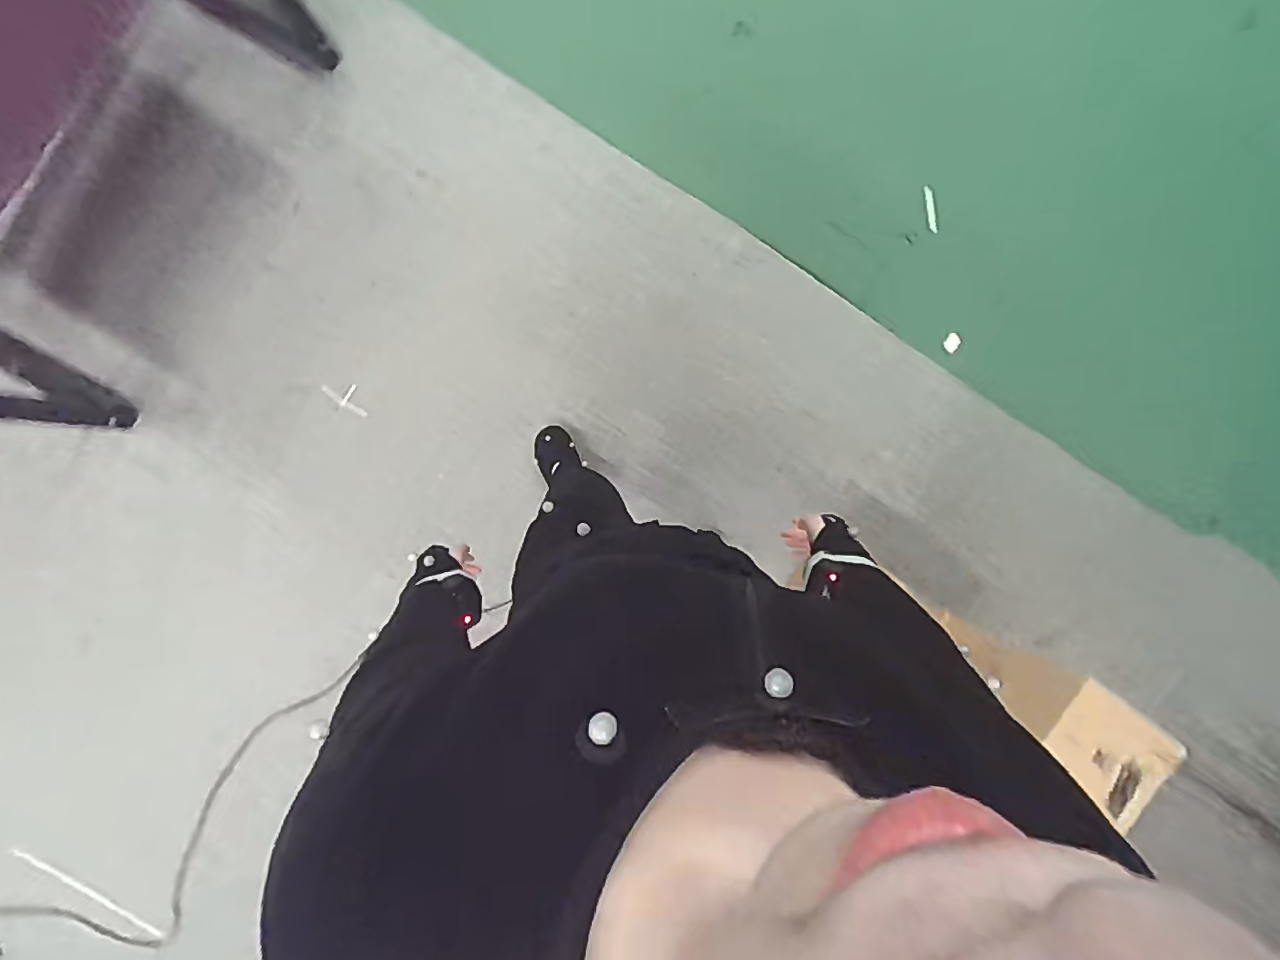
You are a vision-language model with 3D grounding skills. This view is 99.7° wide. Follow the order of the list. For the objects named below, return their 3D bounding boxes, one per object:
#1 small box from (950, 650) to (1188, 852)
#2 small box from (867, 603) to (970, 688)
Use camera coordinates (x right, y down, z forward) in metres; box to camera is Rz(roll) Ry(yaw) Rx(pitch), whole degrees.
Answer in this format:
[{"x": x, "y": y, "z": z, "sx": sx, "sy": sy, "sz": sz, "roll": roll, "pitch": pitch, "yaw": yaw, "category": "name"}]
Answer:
[{"x": 0.616, "y": 0.383, "z": 0.800, "sx": 0.179, "sy": 0.176, "sz": 0.168, "roll": 37, "pitch": 90, "yaw": -2, "category": "small box"}, {"x": 0.615, "y": 0.377, "z": 1.127, "sx": 0.179, "sy": 0.176, "sz": 0.168, "roll": 37, "pitch": 90, "yaw": -4, "category": "small box"}]
